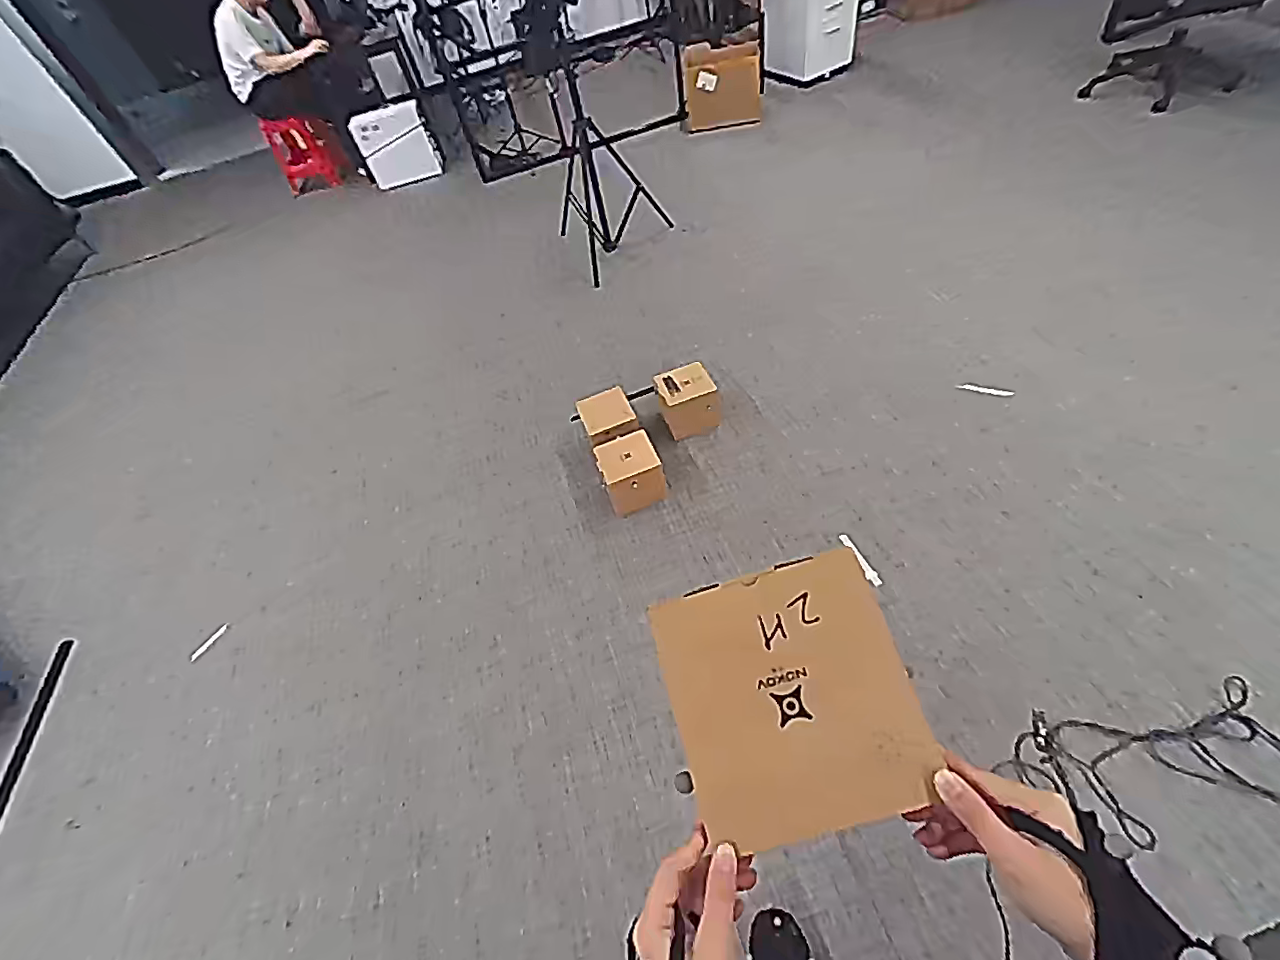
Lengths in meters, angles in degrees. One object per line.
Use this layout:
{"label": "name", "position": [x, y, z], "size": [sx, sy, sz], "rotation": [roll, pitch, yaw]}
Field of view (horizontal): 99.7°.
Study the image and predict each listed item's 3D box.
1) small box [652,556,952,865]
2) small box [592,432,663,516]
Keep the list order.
{"label": "small box", "position": [0.119, 0.182, 0.458], "size": [0.168, 0.176, 0.179], "rotation": [-17, 68, 3]}
{"label": "small box", "position": [-0.033, -0.016, 1.717], "size": [0.179, 0.176, 0.168], "rotation": [-21, 51, -4]}
